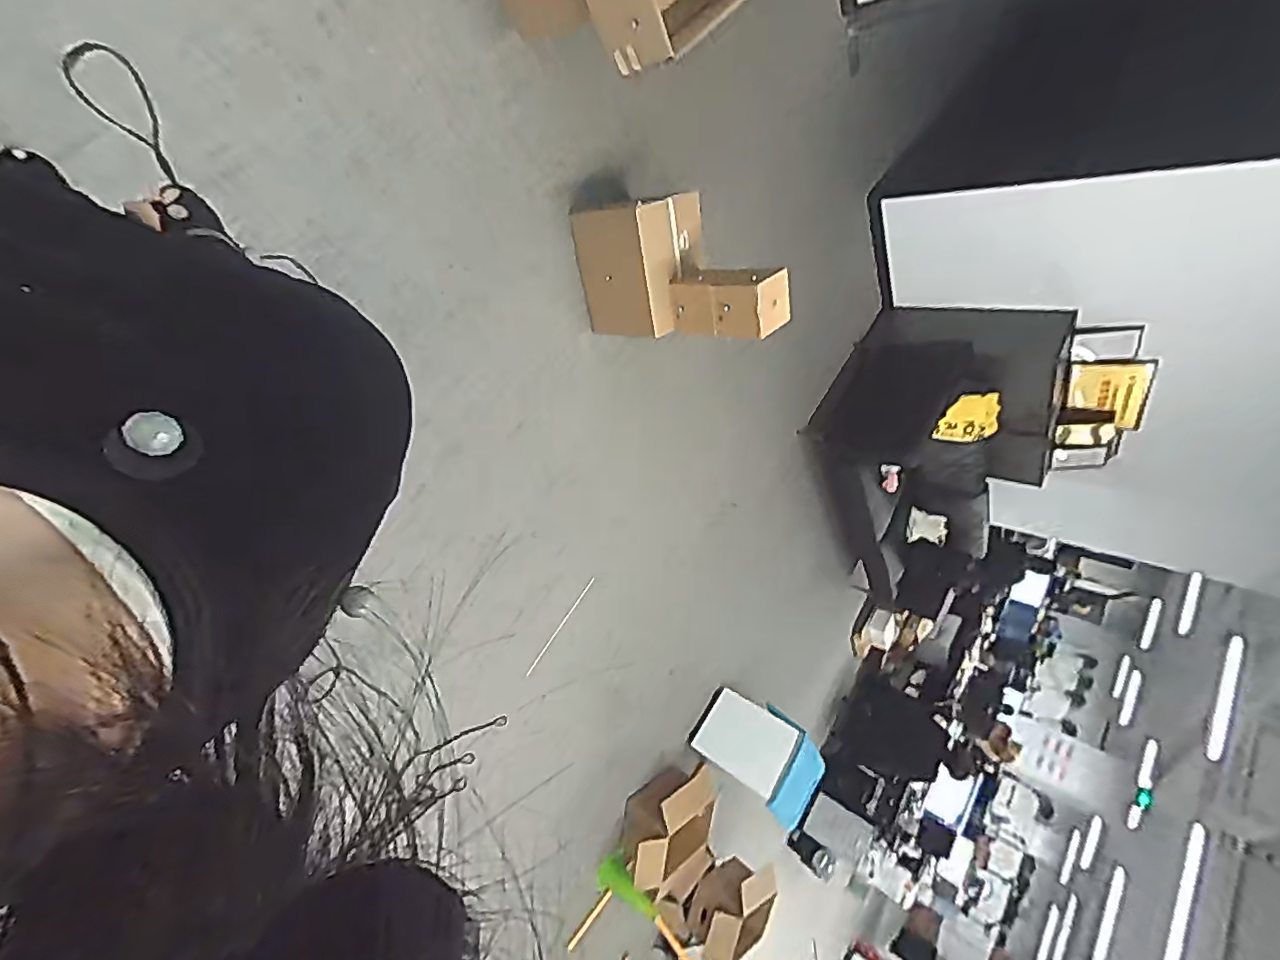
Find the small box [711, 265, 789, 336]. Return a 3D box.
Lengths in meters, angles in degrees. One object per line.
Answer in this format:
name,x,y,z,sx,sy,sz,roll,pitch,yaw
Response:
small box,0.344,-0.565,1.688,0.179,0.176,0.168,-38,130,-33
